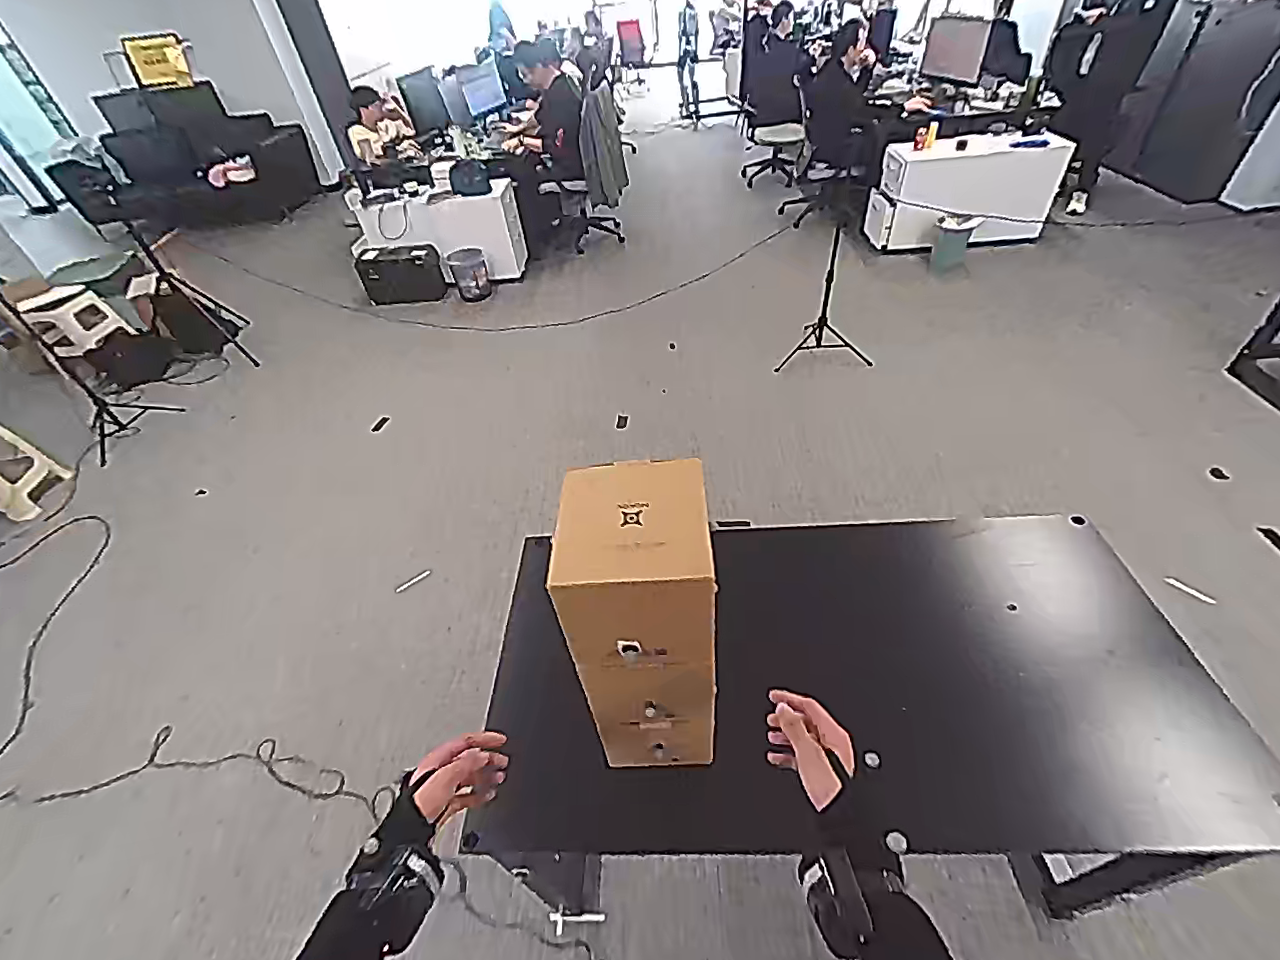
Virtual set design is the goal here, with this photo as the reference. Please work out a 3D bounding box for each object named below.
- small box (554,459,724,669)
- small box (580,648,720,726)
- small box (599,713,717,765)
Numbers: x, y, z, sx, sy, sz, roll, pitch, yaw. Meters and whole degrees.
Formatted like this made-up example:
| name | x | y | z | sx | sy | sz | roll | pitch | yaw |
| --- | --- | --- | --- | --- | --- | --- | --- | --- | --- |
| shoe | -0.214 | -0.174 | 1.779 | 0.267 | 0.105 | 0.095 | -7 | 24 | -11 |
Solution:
| name | x | y | z | sx | sy | sz | roll | pitch | yaw |
| --- | --- | --- | --- | --- | --- | --- | --- | --- | --- |
| small box | 0.005 | 0.098 | 0.631 | 0.168 | 0.176 | 0.179 | -4 | 44 | 4 |
| small box | 0.018 | 0.215 | 0.742 | 0.168 | 0.176 | 0.179 | -4 | 43 | 4 |
| small box | 0.032 | 0.336 | 0.855 | 0.168 | 0.176 | 0.179 | -4 | 44 | 3 |
